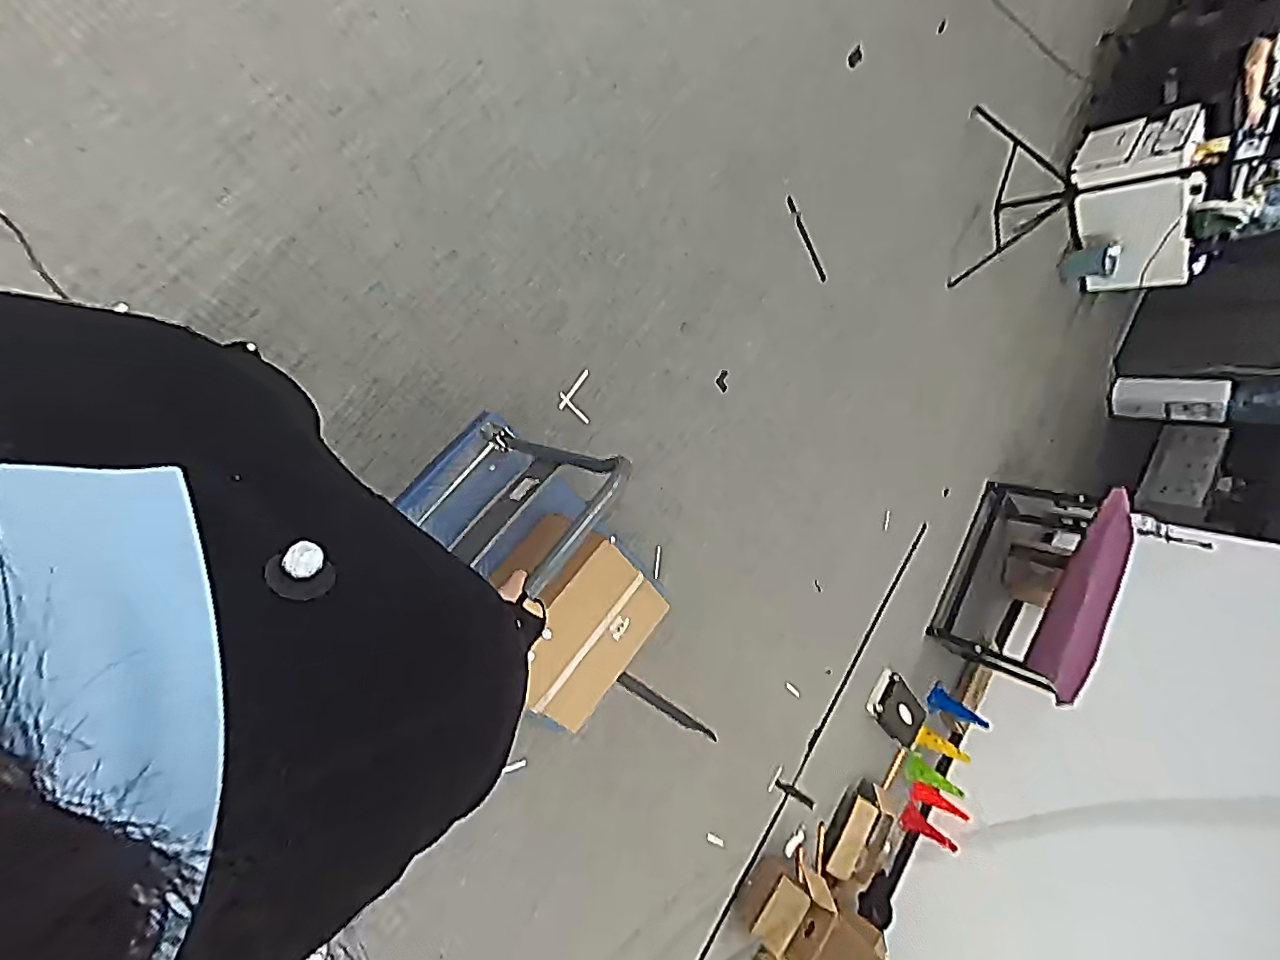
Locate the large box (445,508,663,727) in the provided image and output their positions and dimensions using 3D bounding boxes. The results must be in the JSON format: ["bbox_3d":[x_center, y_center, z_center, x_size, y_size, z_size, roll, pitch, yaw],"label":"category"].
[{"bbox_3d":[-0.224,0.341,1.417,0.408,0.320,0.320,-51,126,-19],"label":"large box"}]
